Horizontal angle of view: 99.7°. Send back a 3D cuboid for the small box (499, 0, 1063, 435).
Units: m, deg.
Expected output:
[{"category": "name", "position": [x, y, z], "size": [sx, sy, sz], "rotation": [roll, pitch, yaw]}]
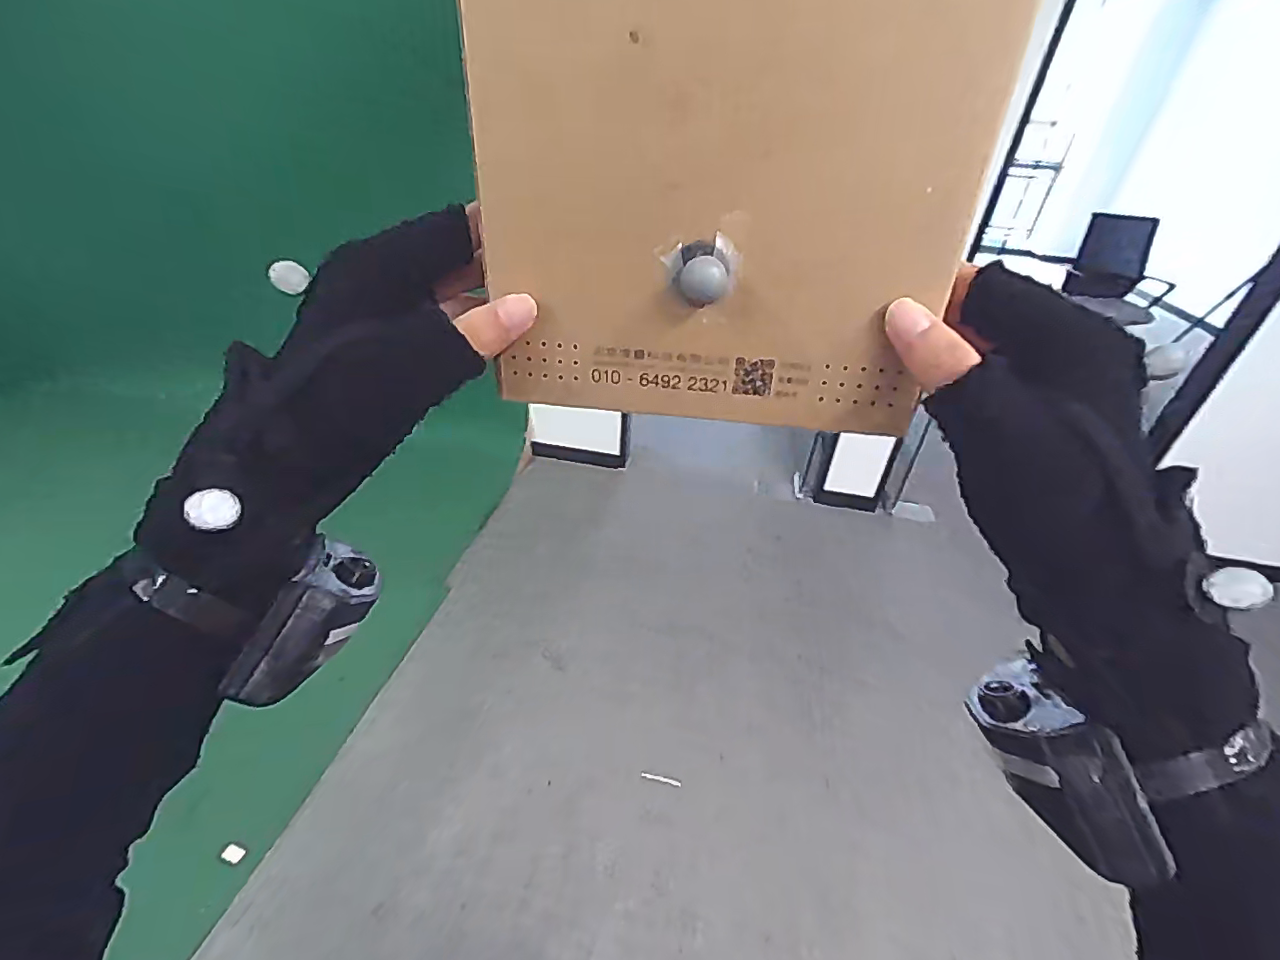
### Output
[{"category": "small box", "position": [0.043, -0.137, 0.248], "size": [0.168, 0.176, 0.179], "rotation": [6, 31, 7]}]
